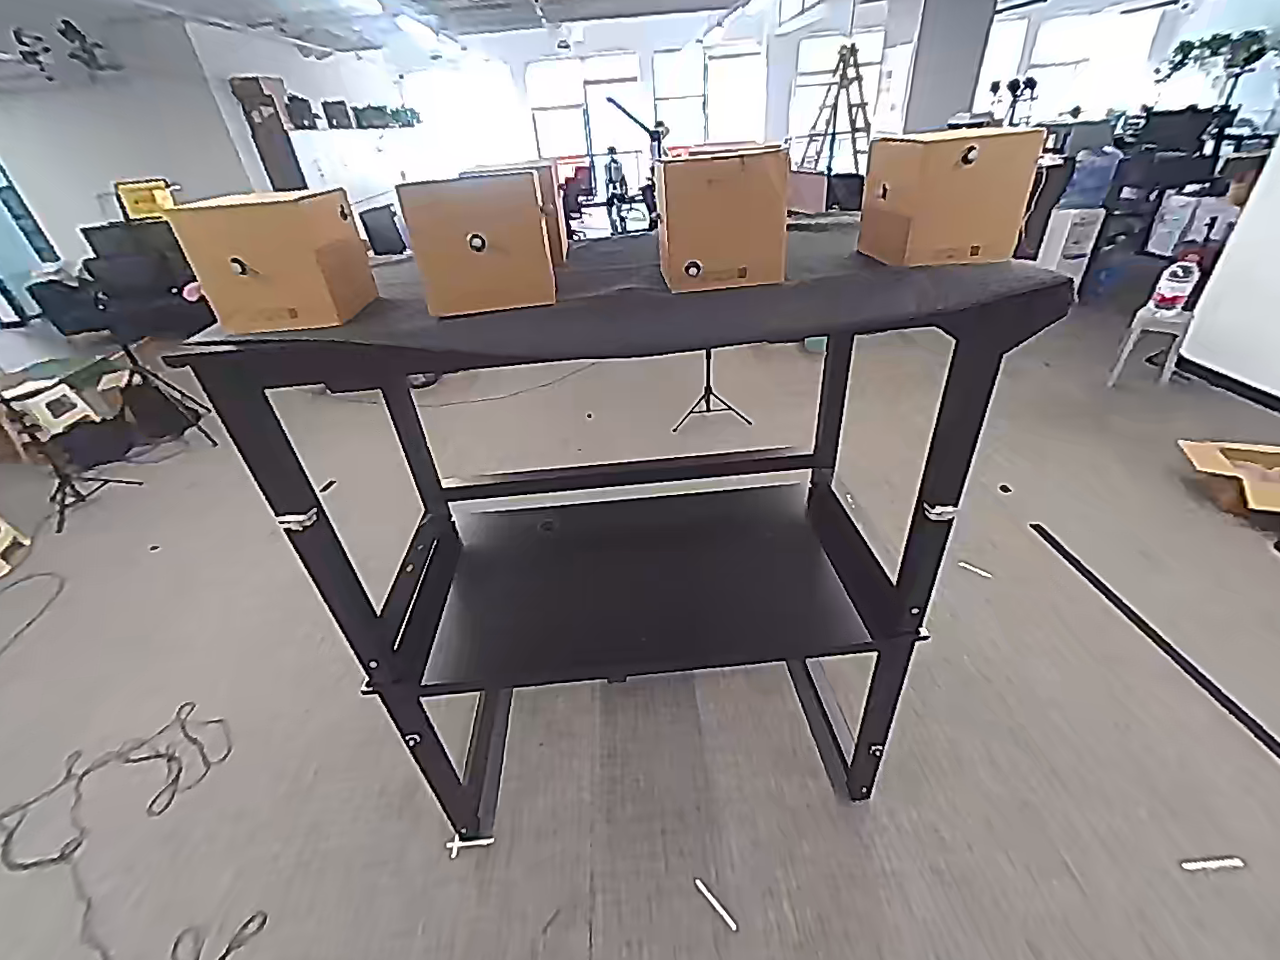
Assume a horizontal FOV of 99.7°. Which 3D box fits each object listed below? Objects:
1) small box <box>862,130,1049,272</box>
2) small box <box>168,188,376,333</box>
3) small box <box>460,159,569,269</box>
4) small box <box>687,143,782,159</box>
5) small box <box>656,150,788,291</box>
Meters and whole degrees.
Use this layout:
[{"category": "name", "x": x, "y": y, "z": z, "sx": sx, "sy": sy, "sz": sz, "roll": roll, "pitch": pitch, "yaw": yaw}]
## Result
[{"category": "small box", "x": 0.455, "y": -0.421, "z": 0.817, "sx": 0.168, "sy": 0.176, "sz": 0.179, "roll": -6, "pitch": 32, "yaw": 0}, {"category": "small box", "x": -0.517, "y": -0.320, "z": 0.796, "sx": 0.168, "sy": 0.176, "sz": 0.179, "roll": -6, "pitch": 33, "yaw": -2}, {"category": "small box", "x": -0.232, "y": -0.513, "z": 1.049, "sx": 0.168, "sy": 0.176, "sz": 0.179, "roll": -5, "pitch": 34, "yaw": -1}, {"category": "small box", "x": 0.178, "y": -0.555, "z": 1.063, "sx": 0.168, "sy": 0.176, "sz": 0.179, "roll": -2, "pitch": 33, "yaw": 3}, {"category": "small box", "x": 0.117, "y": -0.384, "z": 0.807, "sx": 0.168, "sy": 0.176, "sz": 0.179, "roll": -5, "pitch": 31, "yaw": 0}]
